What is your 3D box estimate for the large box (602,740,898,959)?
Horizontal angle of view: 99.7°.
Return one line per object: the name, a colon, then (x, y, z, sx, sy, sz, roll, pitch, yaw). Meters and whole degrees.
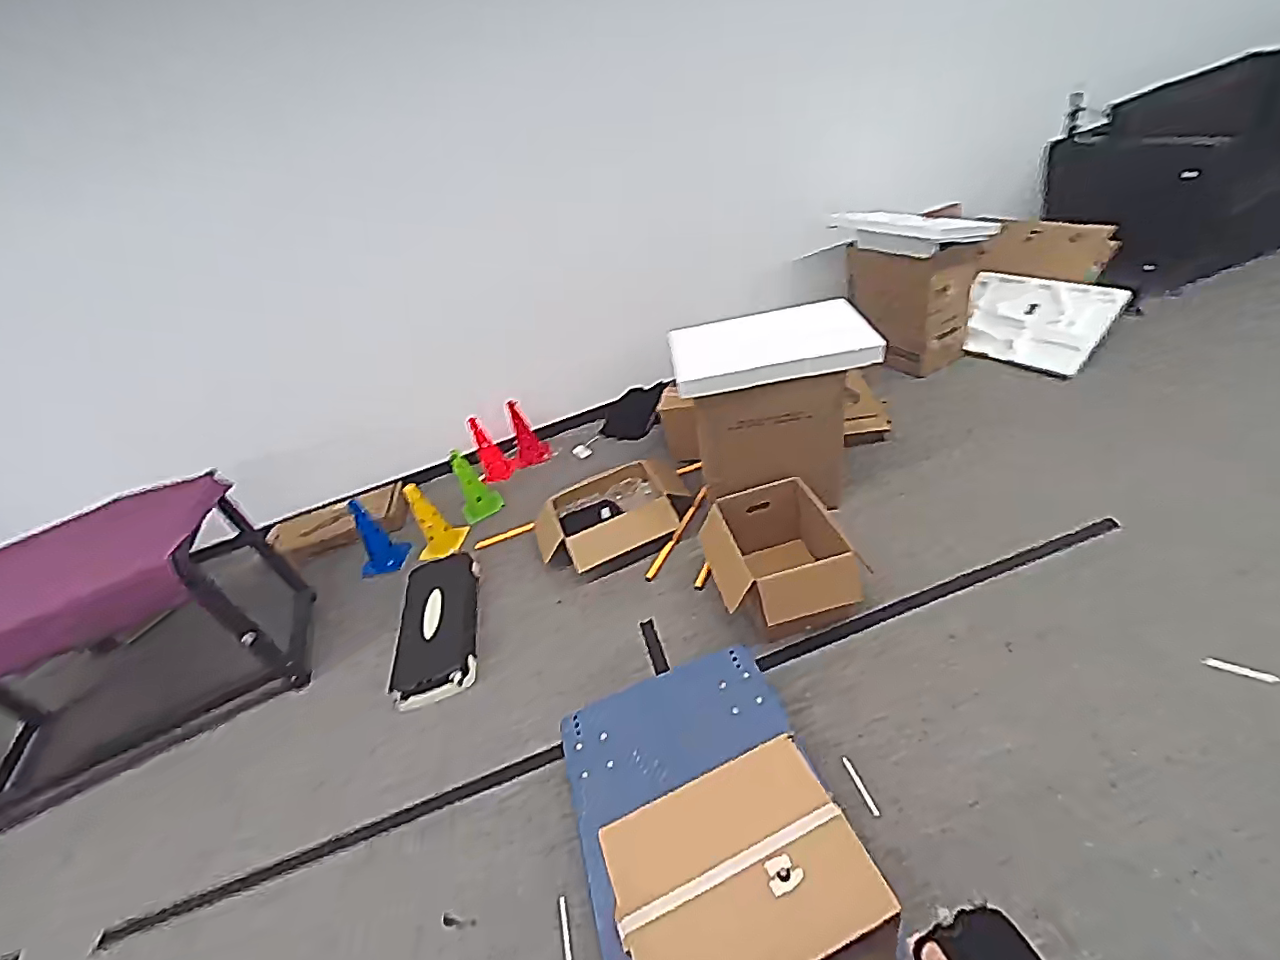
large box: (0.192, 0.774, 0.984, 0.408, 0.320, 0.320, -22, 36, -10)
